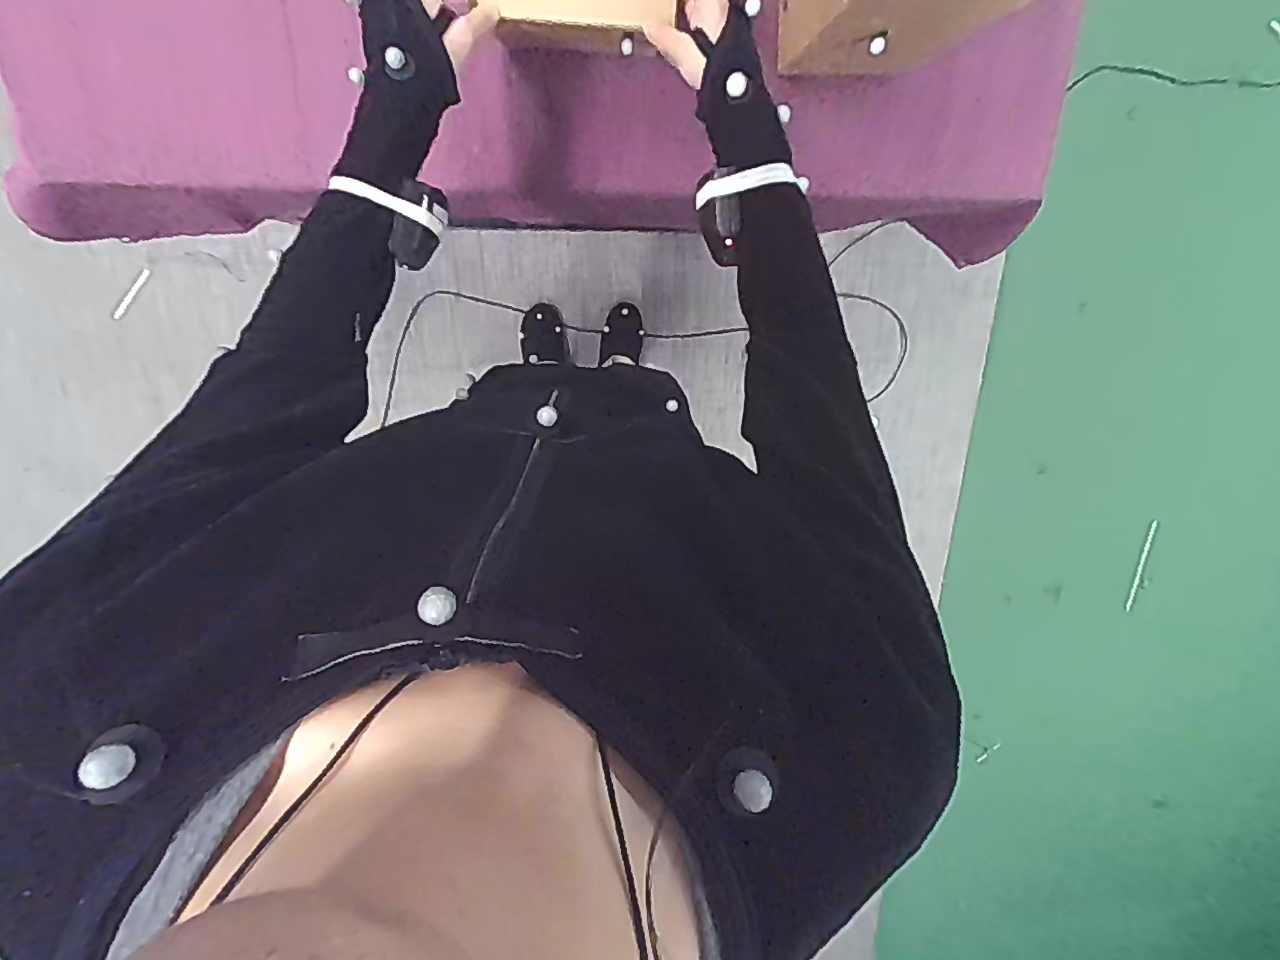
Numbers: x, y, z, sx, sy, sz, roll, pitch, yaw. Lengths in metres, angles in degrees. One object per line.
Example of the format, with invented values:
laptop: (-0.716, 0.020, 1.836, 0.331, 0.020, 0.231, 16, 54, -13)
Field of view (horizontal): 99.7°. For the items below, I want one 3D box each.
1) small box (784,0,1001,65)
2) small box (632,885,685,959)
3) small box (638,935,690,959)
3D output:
small box: (0.258, -0.550, 0.550, 0.179, 0.176, 0.168, -5, 110, -6)
small box: (0.064, 1.646, 1.994, 0.168, 0.176, 0.179, -2, 108, -9)
small box: (0.084, 1.693, 1.840, 0.168, 0.176, 0.179, -1, 108, -8)
